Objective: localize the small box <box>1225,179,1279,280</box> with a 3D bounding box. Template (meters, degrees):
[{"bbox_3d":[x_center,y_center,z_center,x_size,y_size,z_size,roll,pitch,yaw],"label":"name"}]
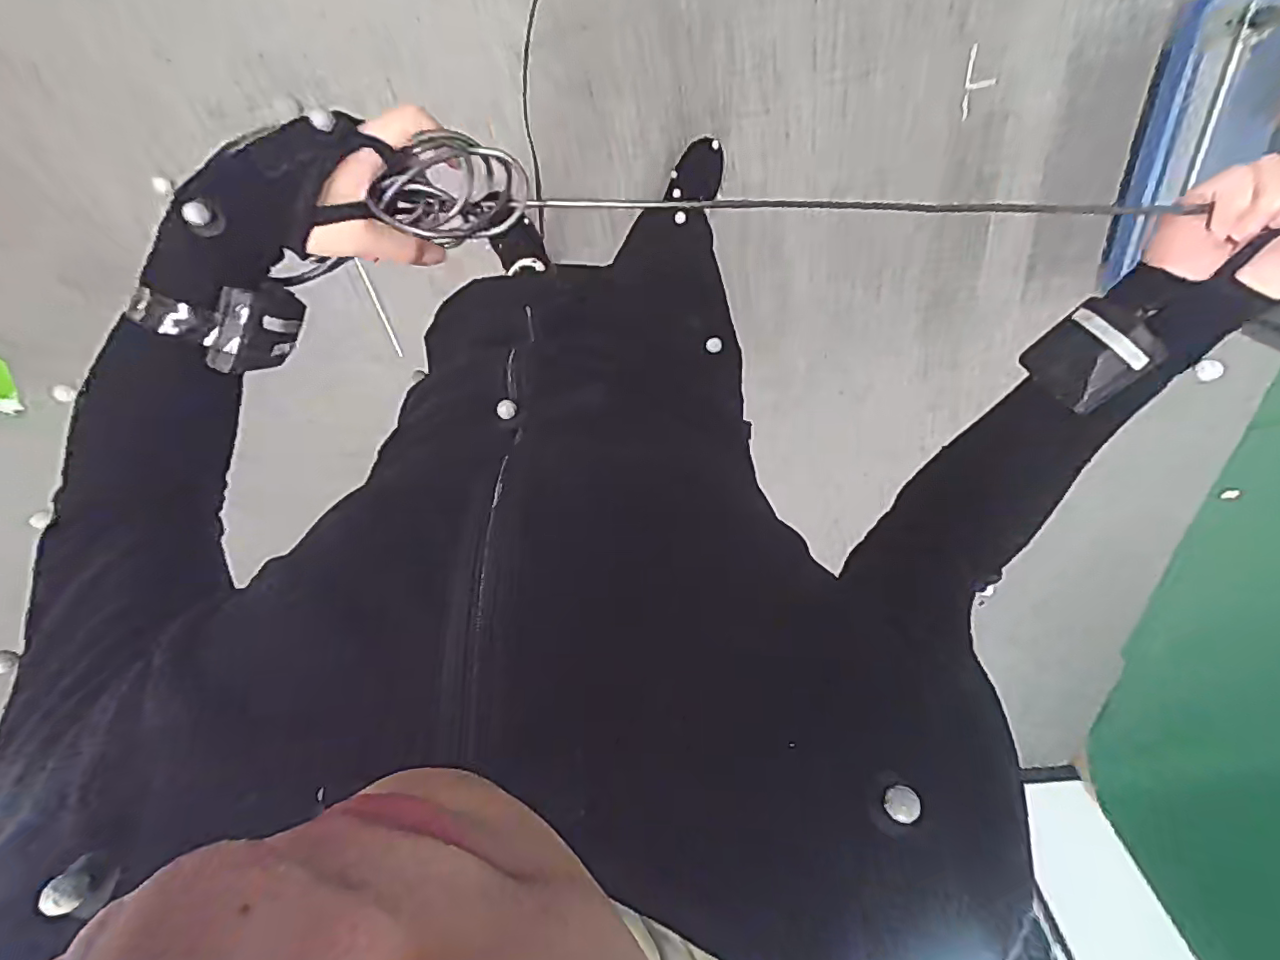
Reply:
[{"bbox_3d":[1.398,-0.525,1.111,0.179,0.176,0.168,-6,125,7],"label":"small box"}]
